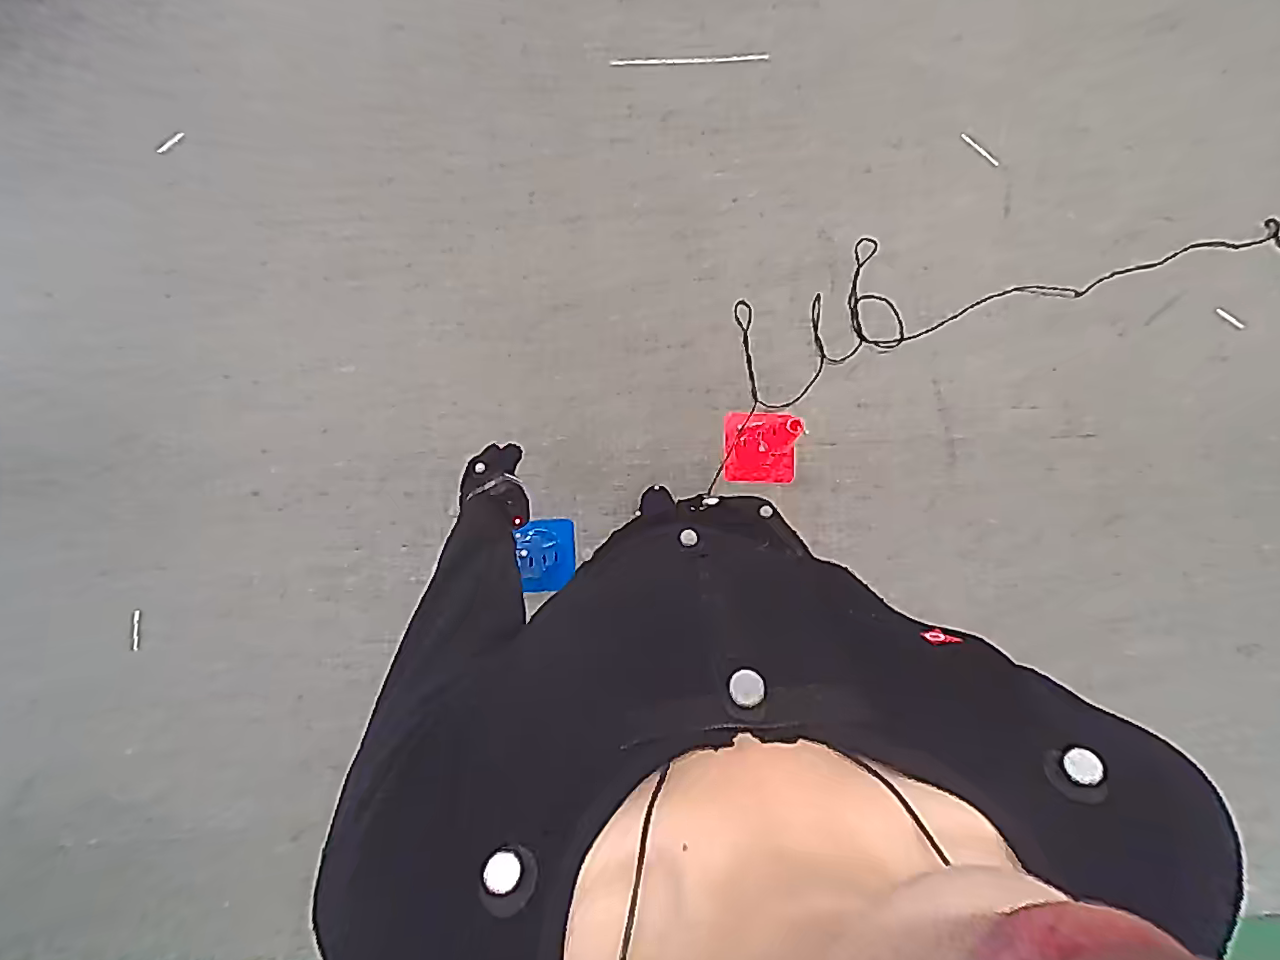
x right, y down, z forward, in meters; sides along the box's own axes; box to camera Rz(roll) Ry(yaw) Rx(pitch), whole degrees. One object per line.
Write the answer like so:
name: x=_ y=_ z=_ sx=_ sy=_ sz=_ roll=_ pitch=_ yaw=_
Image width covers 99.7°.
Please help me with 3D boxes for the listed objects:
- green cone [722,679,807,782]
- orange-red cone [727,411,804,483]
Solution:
green cone: x=0.325 y=0.625 z=1.287 sx=0.200 sy=0.368 sz=0.202 roll=1 pitch=84 yaw=-1
orange-red cone: x=0.344 y=-0.104 z=1.353 sx=0.198 sy=0.360 sz=0.199 roll=3 pitch=87 yaw=1
